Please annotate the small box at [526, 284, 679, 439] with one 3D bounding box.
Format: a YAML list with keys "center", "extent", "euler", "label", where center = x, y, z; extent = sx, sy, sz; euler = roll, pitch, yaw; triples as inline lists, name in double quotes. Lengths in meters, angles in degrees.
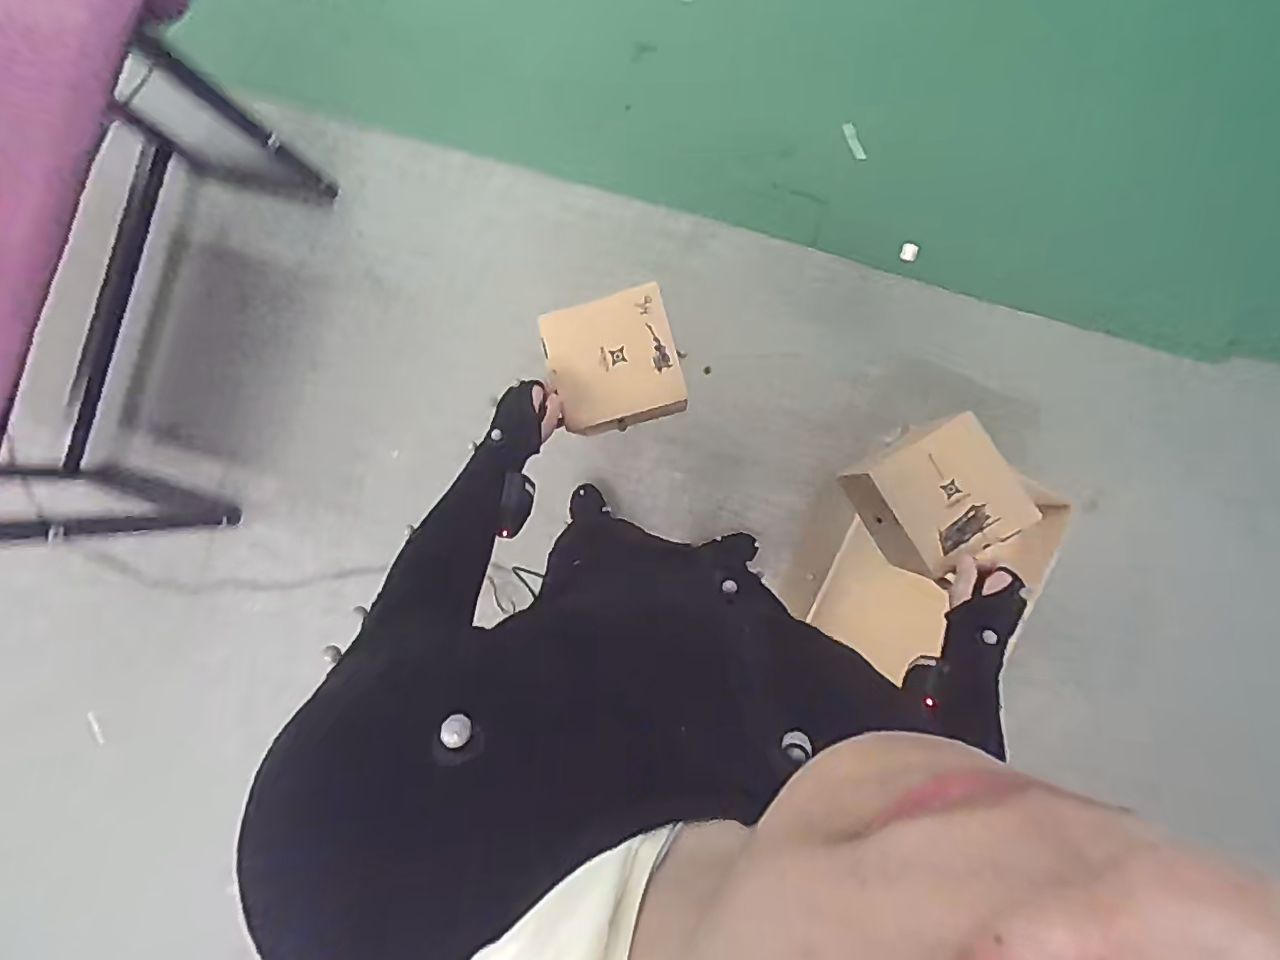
- center: [-0.045, -0.161, 0.798]
  extent: [0.179, 0.176, 0.168]
  euler: [-15, 91, 5]
  label: "small box"

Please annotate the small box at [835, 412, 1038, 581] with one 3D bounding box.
- center: [0.421, 0.024, 0.801]
  extent: [0.168, 0.176, 0.179]
  euler: [-32, 85, 3]
  label: "small box"
